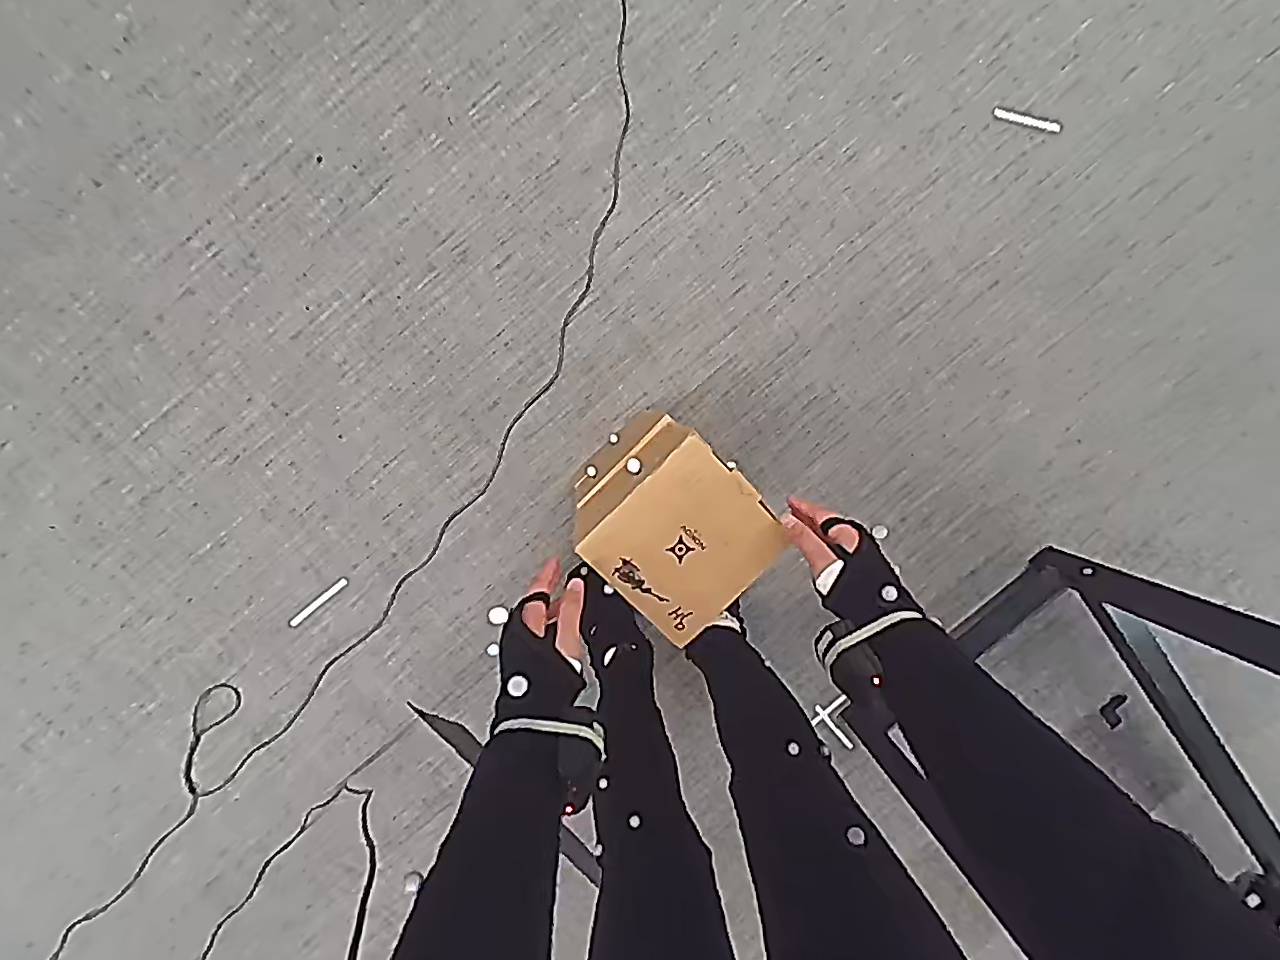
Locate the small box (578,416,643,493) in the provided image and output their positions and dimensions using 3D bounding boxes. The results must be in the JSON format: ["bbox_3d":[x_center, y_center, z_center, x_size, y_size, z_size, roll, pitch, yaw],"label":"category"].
[{"bbox_3d":[0.003,-0.001,0.970,0.179,0.176,0.168,-43,100,3],"label":"small box"}]

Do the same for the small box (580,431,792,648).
[{"bbox_3d":[0.041,0.056,0.651,0.179,0.176,0.168,-45,101,2],"label":"small box"}]

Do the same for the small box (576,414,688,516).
[{"bbox_3d":[0.022,0.018,0.811,0.168,0.176,0.179,42,91,-12],"label":"small box"}]
